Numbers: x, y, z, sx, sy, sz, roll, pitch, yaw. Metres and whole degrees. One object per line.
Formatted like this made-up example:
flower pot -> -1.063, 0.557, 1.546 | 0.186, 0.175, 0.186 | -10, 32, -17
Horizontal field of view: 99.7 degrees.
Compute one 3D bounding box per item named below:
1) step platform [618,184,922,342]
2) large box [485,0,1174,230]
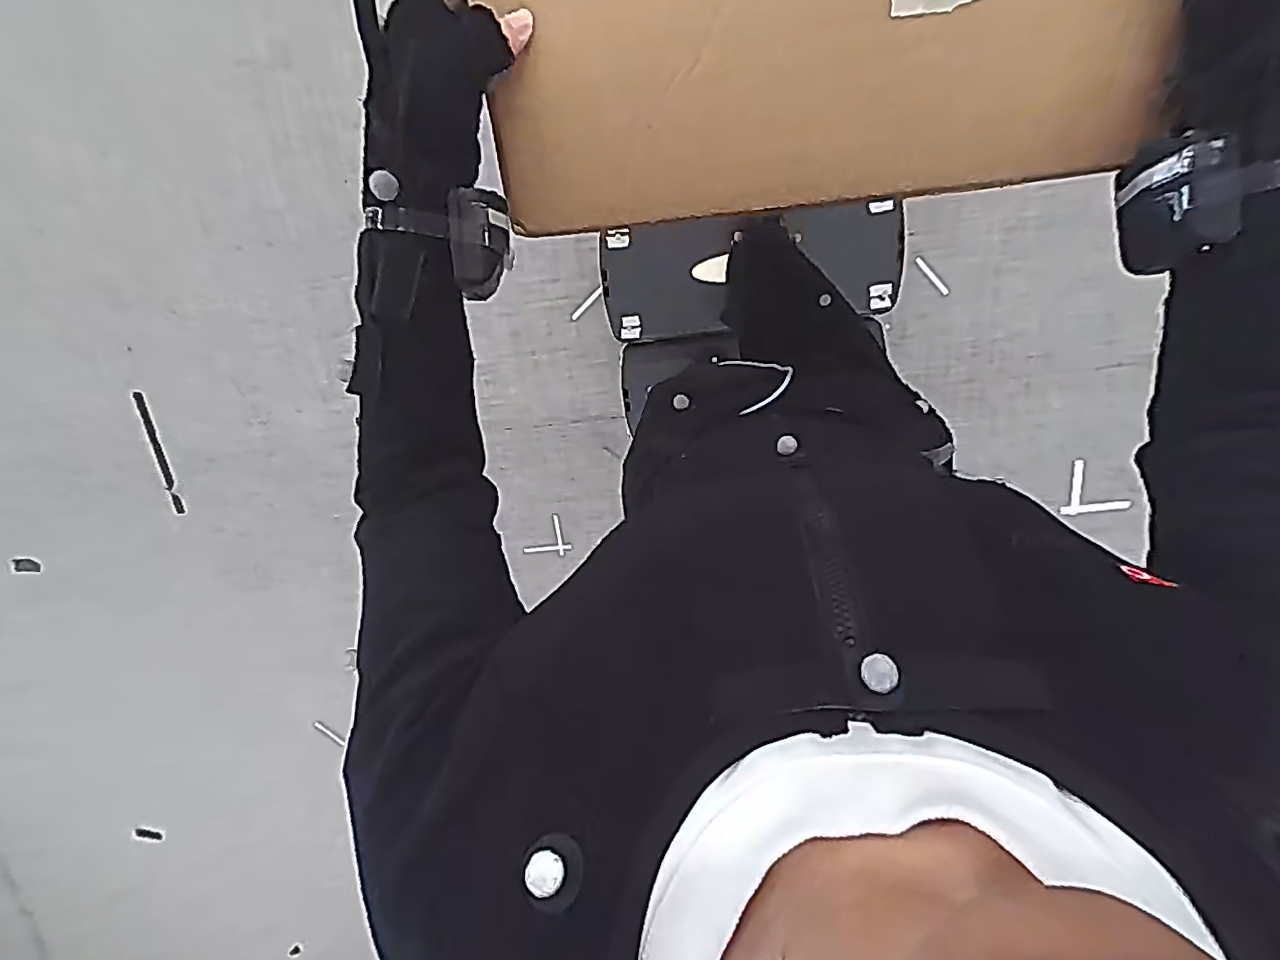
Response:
step platform -> 0.289, -0.511, 1.286 | 0.684, 0.204, 0.286 | -6, 108, 7
large box -> 0.109, -0.395, 0.432 | 0.408, 0.320, 0.320 | -3, 116, 7
